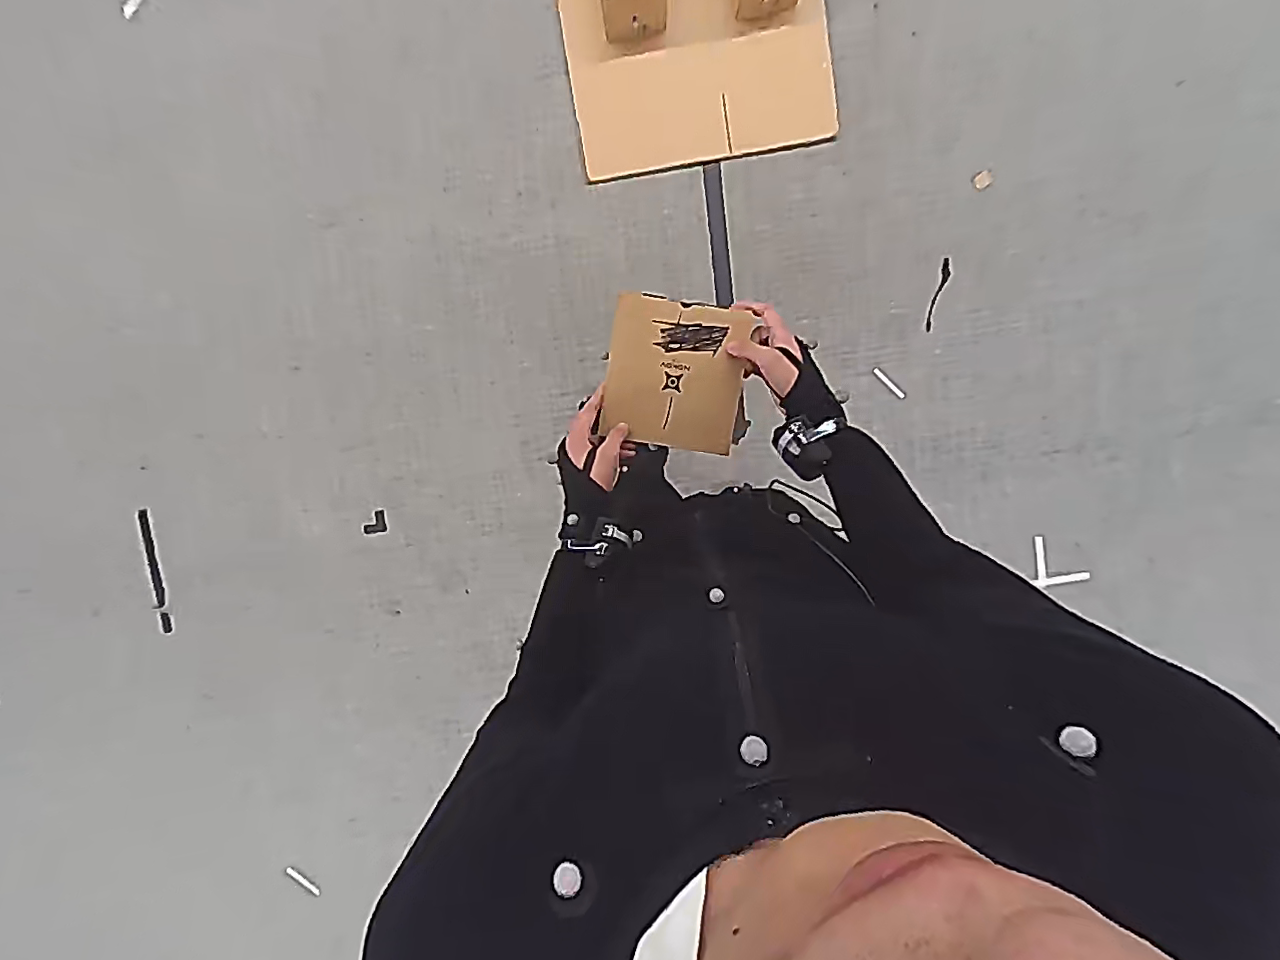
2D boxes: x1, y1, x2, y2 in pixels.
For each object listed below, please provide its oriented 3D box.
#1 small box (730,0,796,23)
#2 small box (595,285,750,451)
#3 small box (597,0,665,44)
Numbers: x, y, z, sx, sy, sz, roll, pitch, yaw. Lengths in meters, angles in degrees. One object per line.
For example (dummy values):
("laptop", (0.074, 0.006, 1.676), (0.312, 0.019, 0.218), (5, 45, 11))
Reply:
("small box", (0.310, -1.307, 1.351), (0.168, 0.176, 0.179), (-13, 97, 3))
("small box", (0.036, -0.144, 0.725), (0.168, 0.176, 0.179), (9, 99, -1))
("small box", (-0.030, -1.255, 1.358), (0.168, 0.176, 0.179), (-9, 97, 3))
